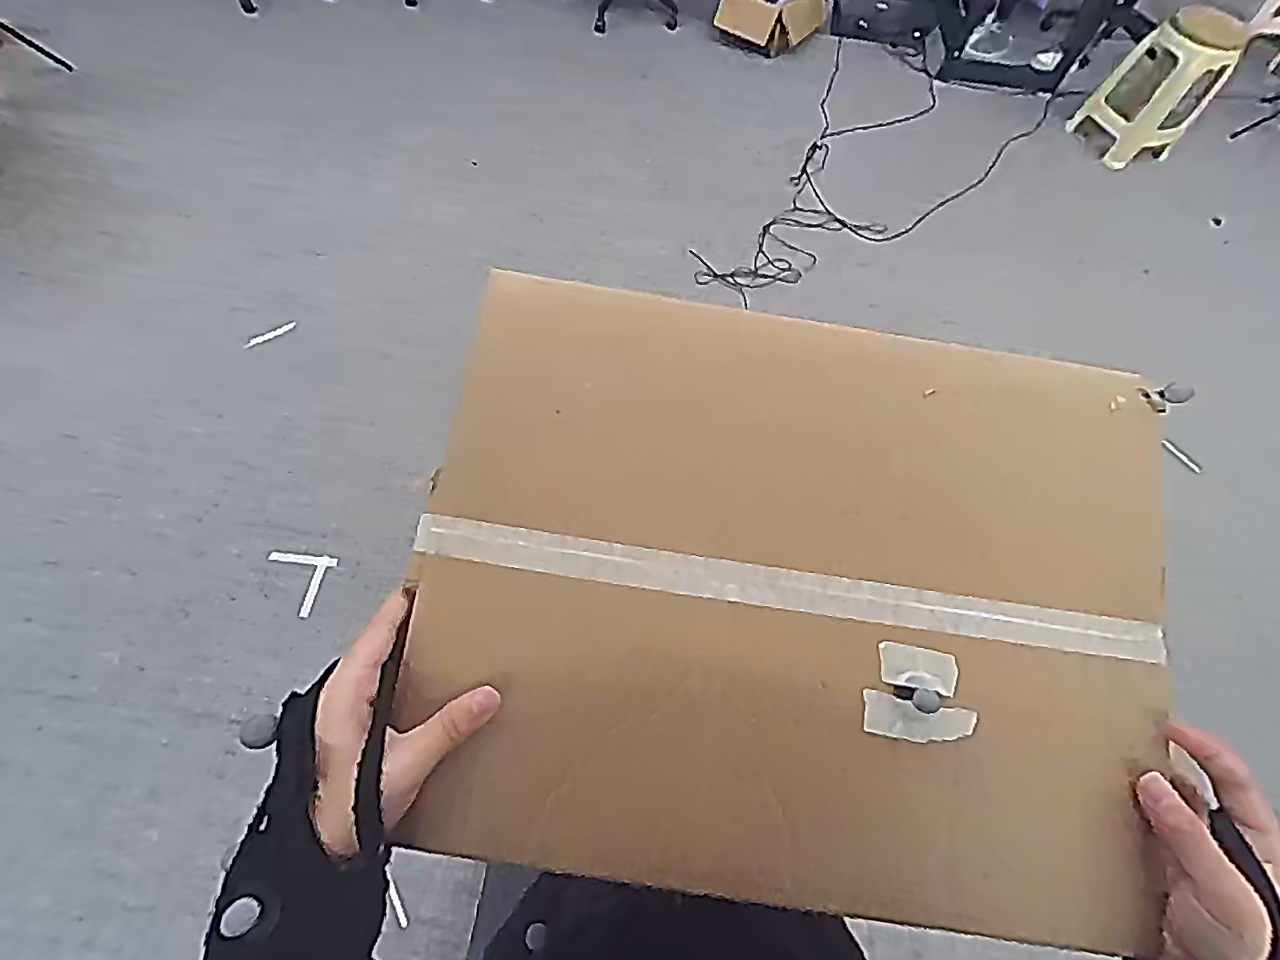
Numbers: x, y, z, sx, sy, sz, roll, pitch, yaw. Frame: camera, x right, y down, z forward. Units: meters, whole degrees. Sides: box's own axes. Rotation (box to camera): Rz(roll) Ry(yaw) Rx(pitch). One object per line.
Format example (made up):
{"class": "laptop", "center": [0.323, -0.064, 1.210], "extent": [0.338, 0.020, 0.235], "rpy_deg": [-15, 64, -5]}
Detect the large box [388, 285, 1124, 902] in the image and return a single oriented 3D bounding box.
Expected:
{"class": "large box", "center": [0.074, 0.077, 0.458], "extent": [0.408, 0.320, 0.320], "rpy_deg": [9, 81, -1]}
